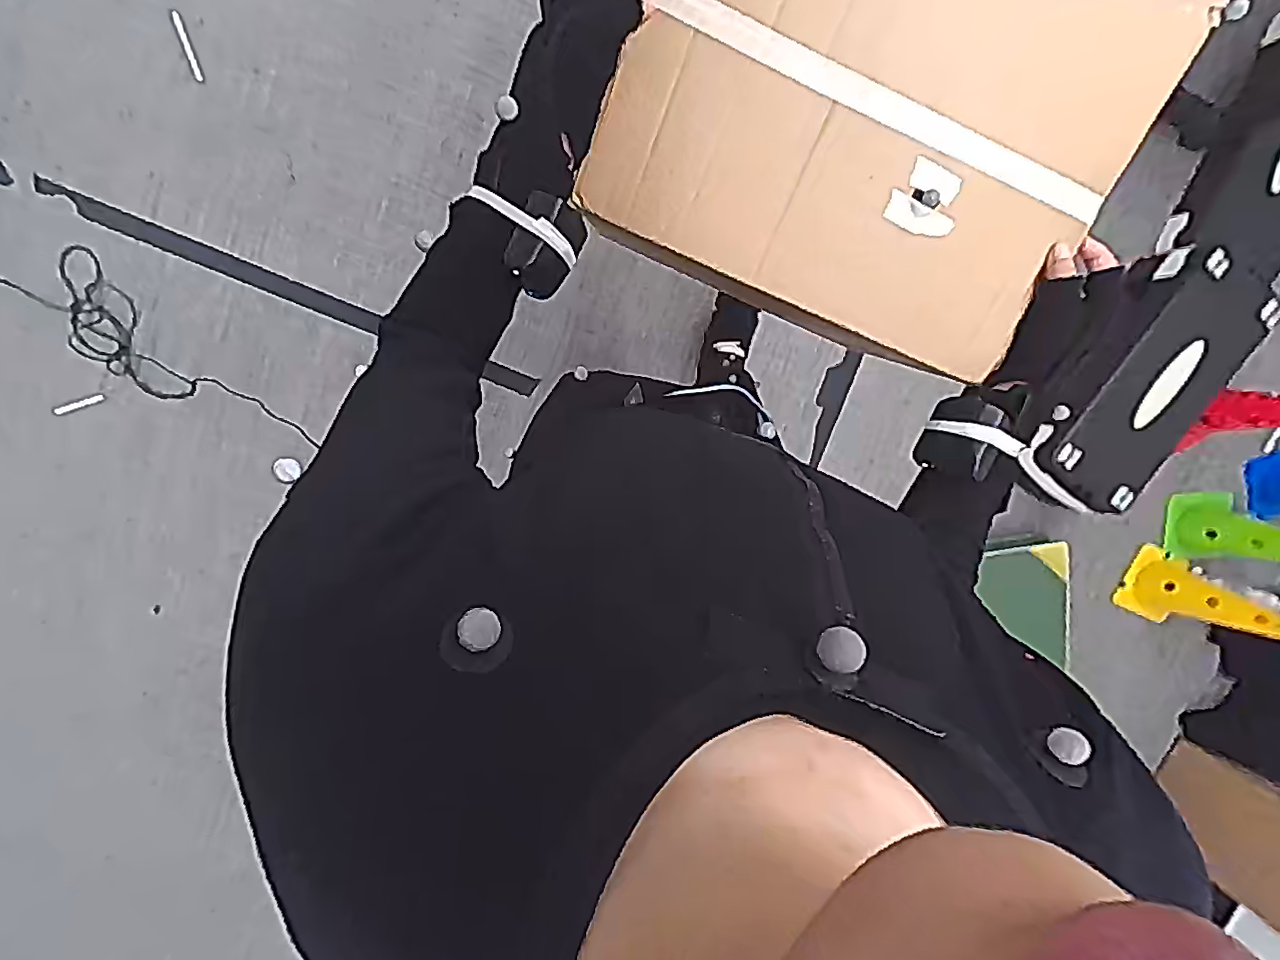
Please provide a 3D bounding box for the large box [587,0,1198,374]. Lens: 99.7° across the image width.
[{"bbox_3d":[0.188,-0.349,0.575,0.408,0.320,0.320,21,109,-8],"label":"large box"}]
